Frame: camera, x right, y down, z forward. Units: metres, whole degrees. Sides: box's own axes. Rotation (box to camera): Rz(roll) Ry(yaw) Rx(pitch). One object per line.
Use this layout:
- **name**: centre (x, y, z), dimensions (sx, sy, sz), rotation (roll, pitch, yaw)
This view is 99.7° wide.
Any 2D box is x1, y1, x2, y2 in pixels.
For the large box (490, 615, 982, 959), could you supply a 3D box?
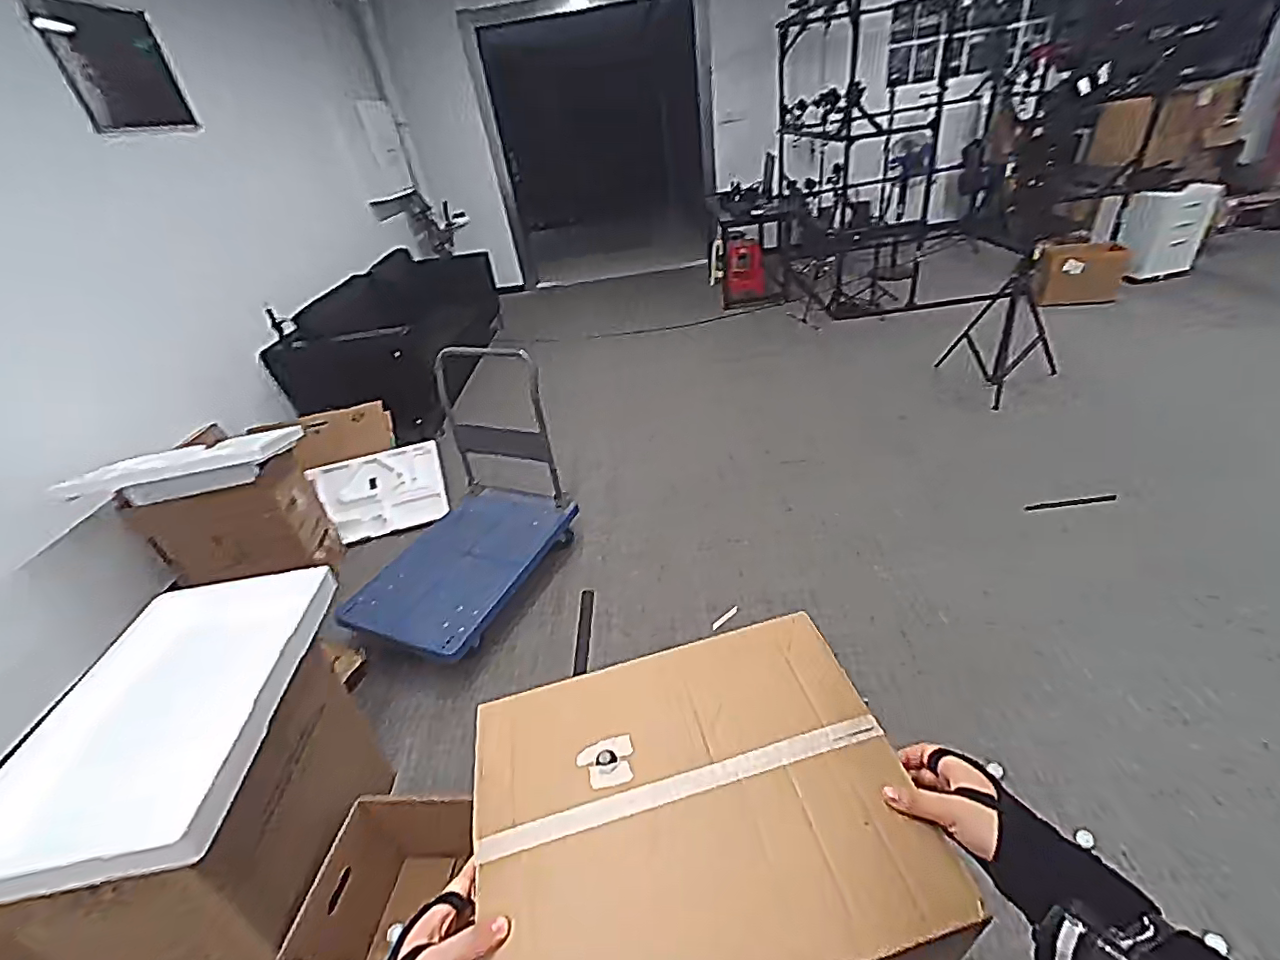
- **large box**: centre (0.077, 0.419, 0.615), dimensions (0.408, 0.320, 0.320), rotation (-16, 36, -4)
